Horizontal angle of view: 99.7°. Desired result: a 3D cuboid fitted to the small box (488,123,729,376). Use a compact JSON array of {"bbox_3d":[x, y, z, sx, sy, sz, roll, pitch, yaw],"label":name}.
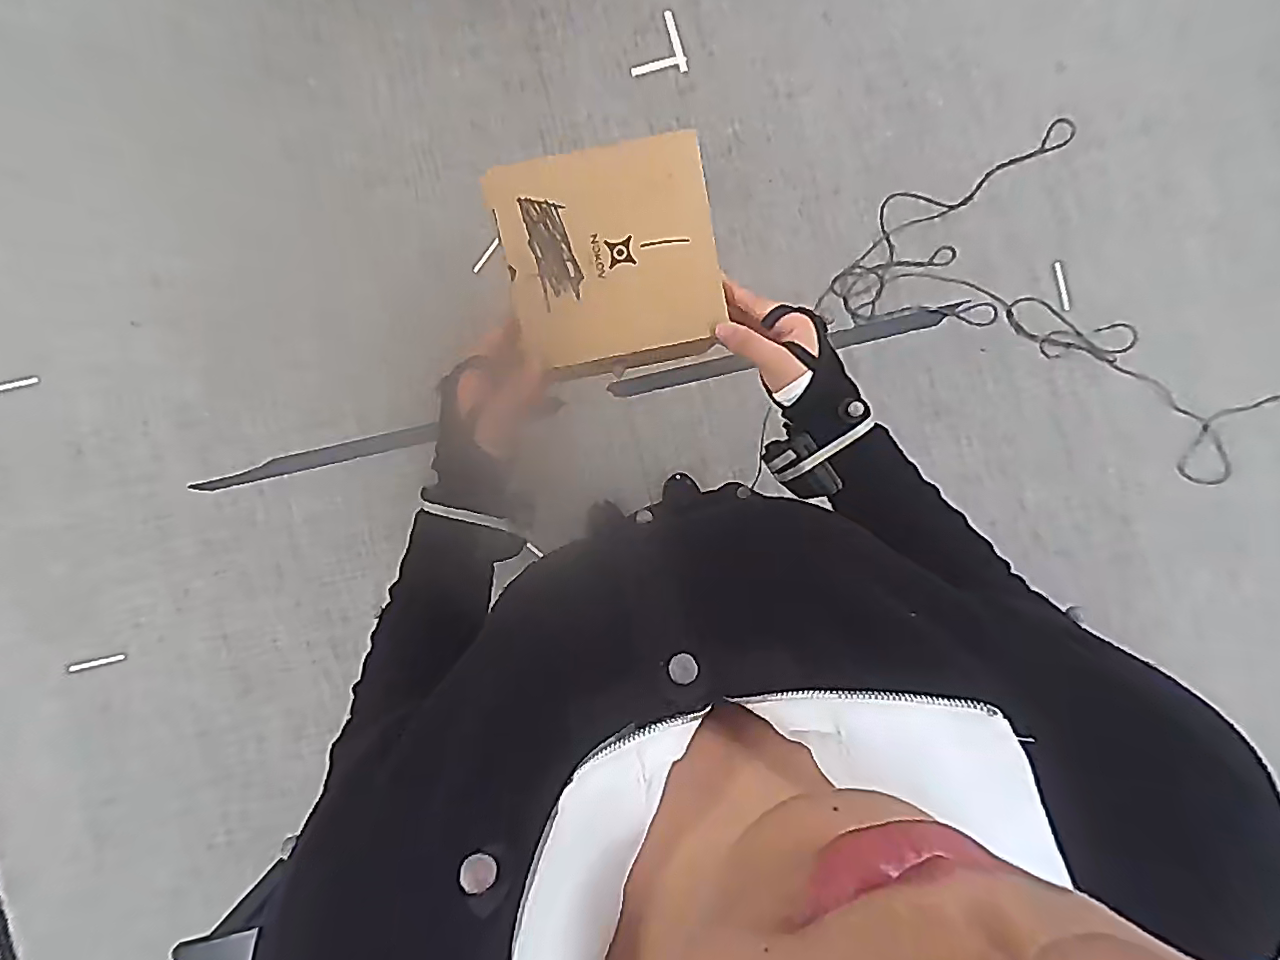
[{"bbox_3d":[-0.026,-0.201,0.521,0.179,0.176,0.168,-12,97,-1],"label":"small box"}]
